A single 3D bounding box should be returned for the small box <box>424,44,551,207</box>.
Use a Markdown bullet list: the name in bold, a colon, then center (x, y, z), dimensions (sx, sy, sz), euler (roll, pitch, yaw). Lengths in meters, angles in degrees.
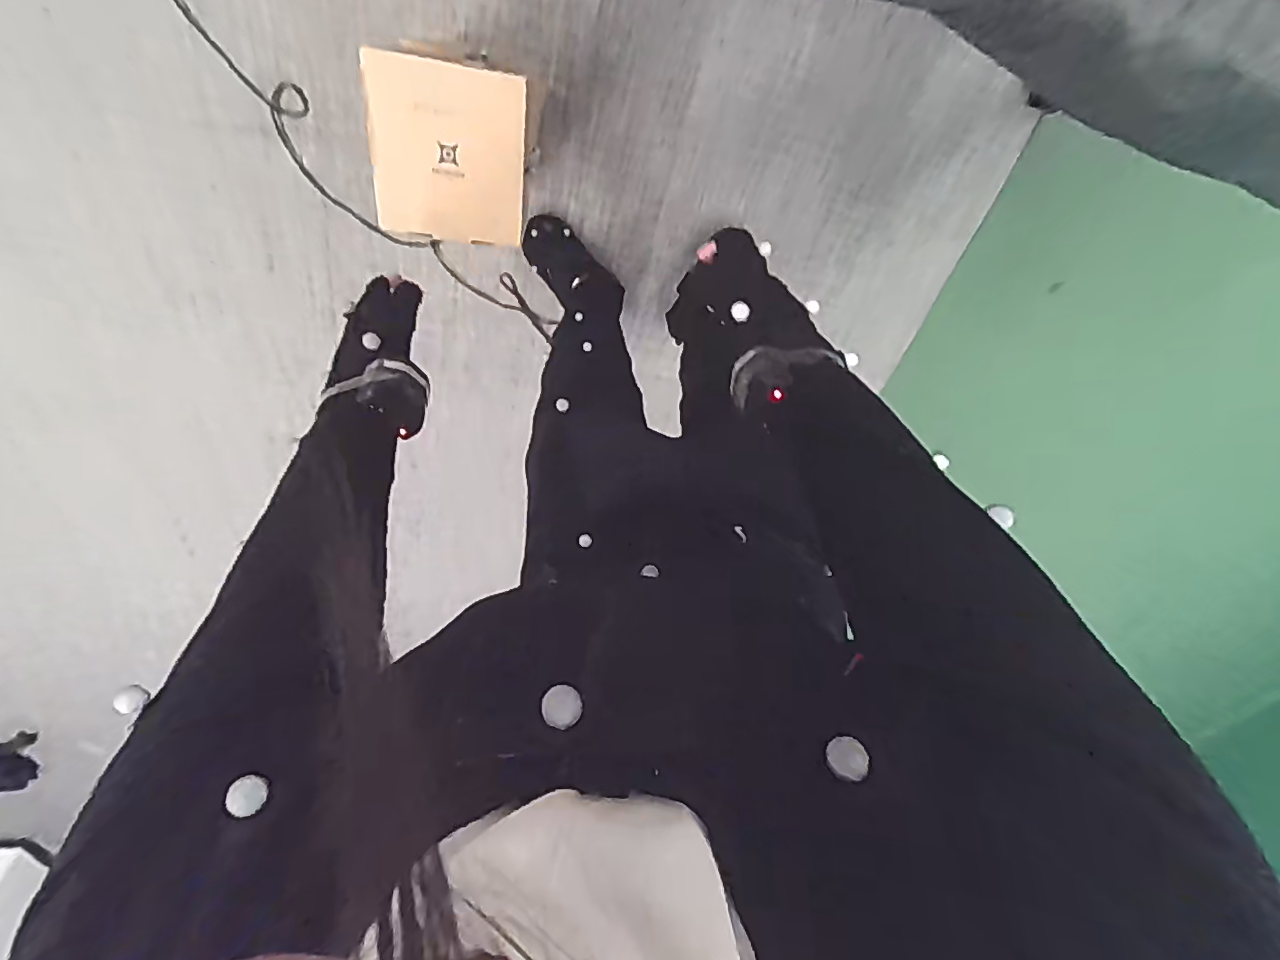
- **small box**: center (-0.255, -0.604, 0.922), dimensions (0.168, 0.176, 0.179), euler (14, 126, -18)
